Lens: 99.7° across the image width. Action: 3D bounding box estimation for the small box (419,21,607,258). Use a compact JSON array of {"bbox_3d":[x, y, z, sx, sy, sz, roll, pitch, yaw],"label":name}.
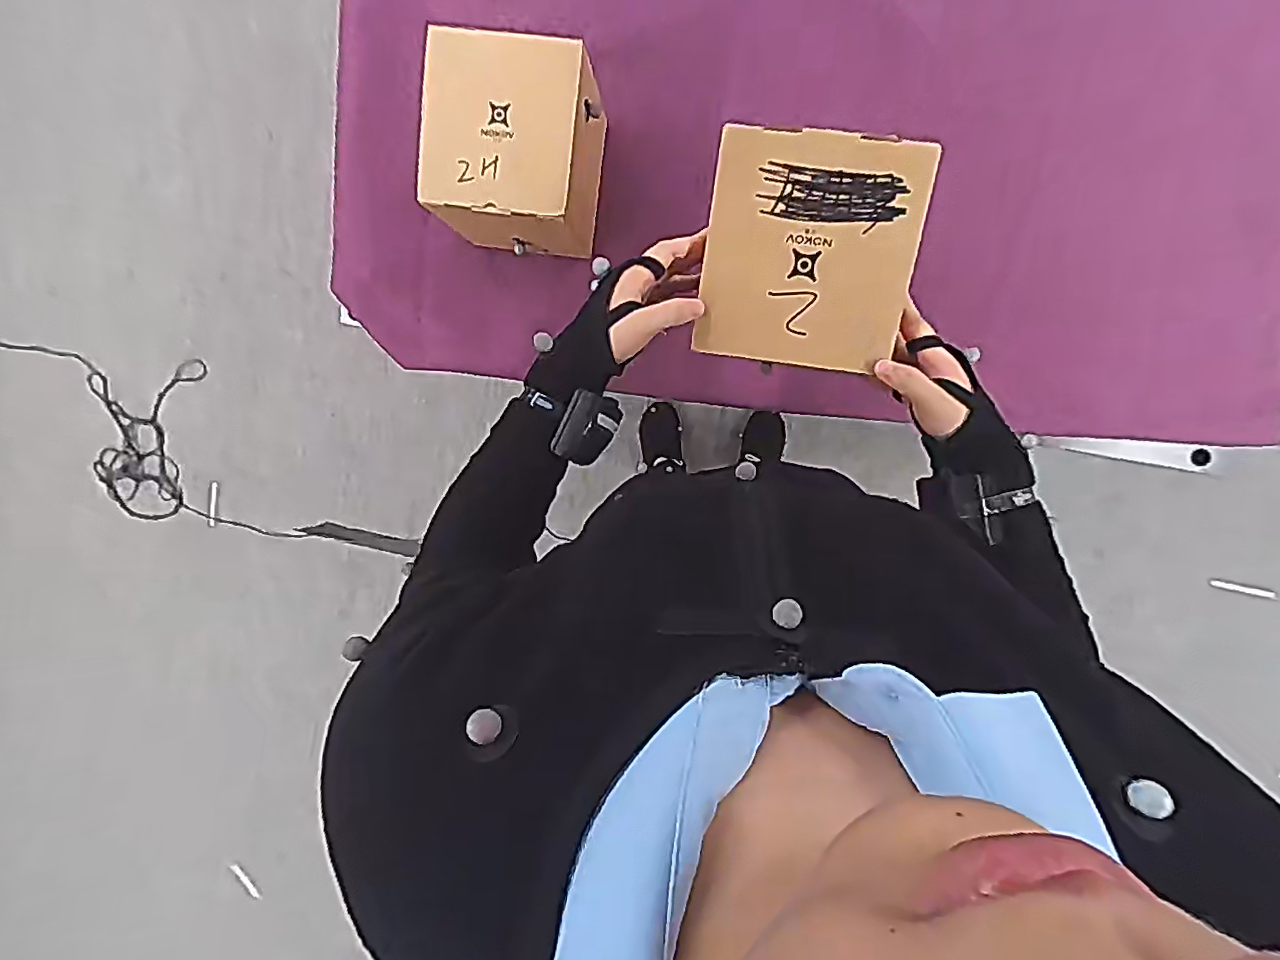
[{"bbox_3d":[-0.137,-0.382,0.637,0.168,0.176,0.179,8,99,4],"label":"small box"}]
